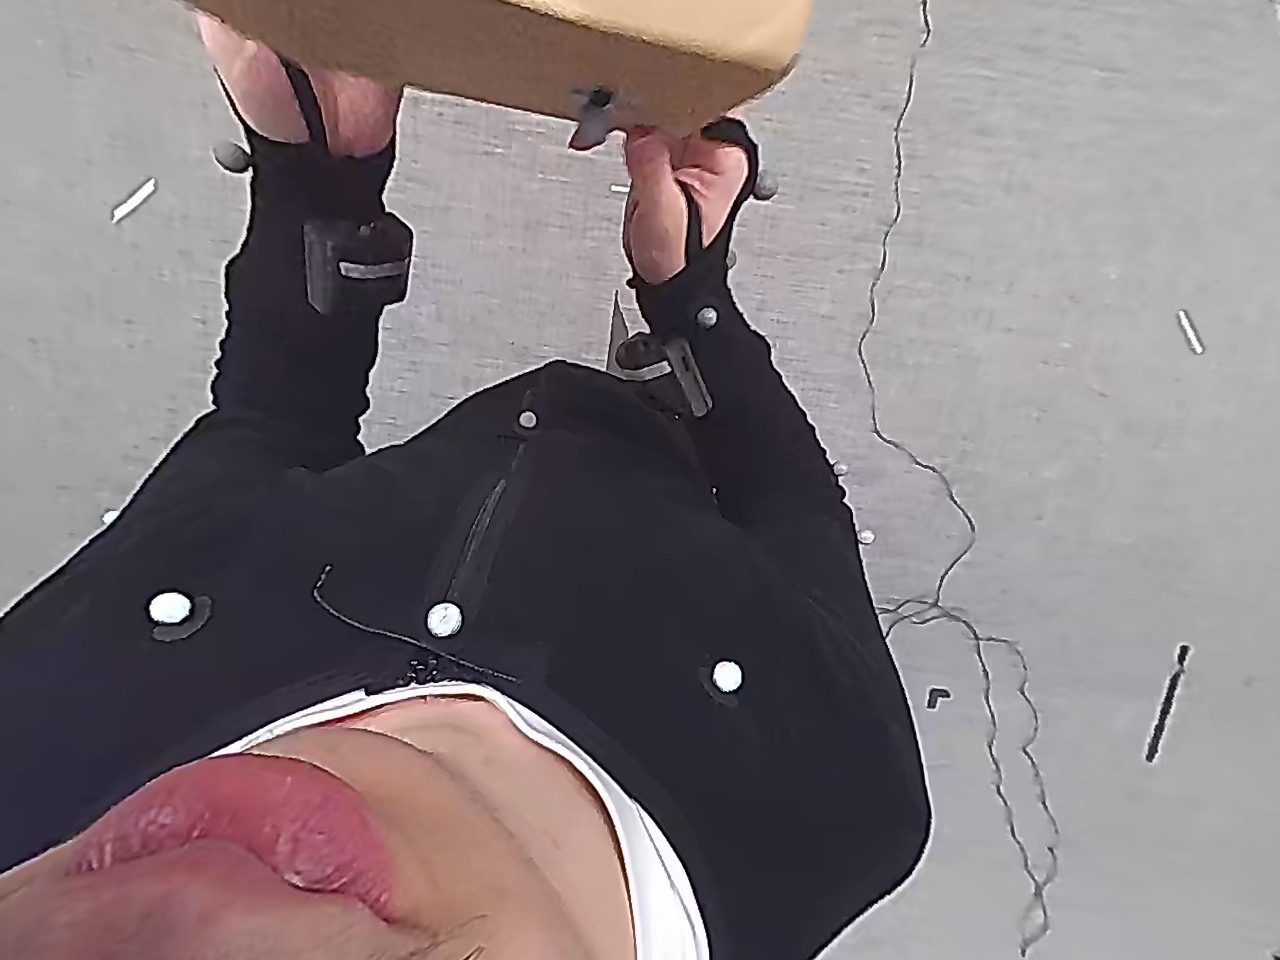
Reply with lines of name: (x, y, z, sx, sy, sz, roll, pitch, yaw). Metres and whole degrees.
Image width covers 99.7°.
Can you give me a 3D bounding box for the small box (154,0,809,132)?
small box: (-0.047, -0.218, 0.162, 0.179, 0.176, 0.168, 2, 115, -9)
